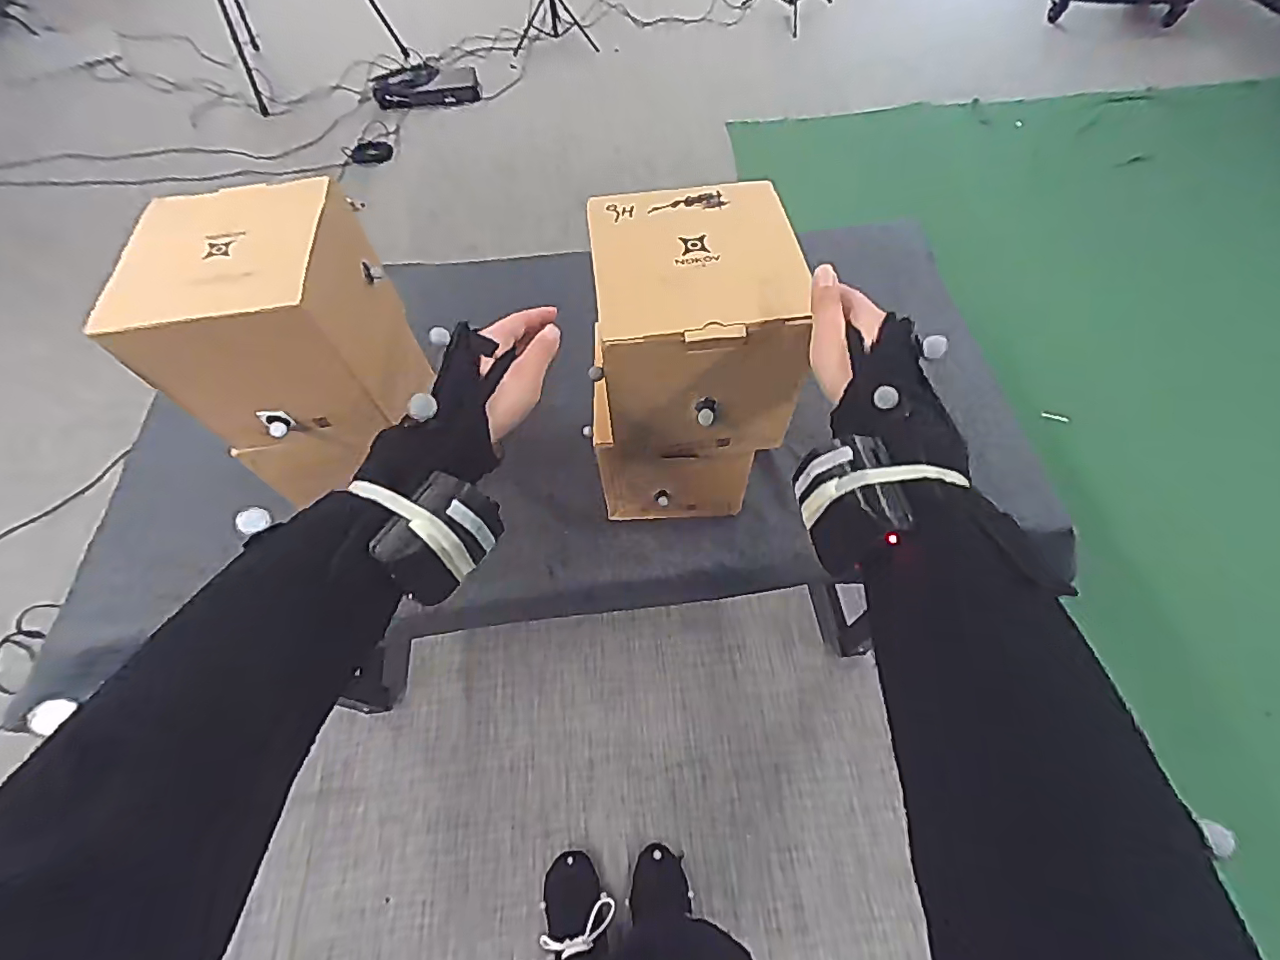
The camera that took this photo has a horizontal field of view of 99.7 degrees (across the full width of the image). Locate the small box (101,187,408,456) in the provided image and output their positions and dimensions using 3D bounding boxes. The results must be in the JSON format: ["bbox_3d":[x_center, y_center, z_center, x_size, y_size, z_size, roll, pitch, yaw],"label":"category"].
[{"bbox_3d":[-0.343,-0.148,0.528,0.168,0.176,0.179,-10,60,-2],"label":"small box"}]

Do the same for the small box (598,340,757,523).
[{"bbox_3d":[0.038,-0.065,0.654,0.168,0.176,0.179,-3,59,0],"label":"small box"}]

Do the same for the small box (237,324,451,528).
[{"bbox_3d":[-0.342,-0.063,0.667,0.168,0.176,0.179,-9,59,-3],"label":"small box"}]

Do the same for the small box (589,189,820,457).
[{"bbox_3d":[0.048,-0.134,0.505,0.168,0.176,0.179,-7,60,-2],"label":"small box"}]
